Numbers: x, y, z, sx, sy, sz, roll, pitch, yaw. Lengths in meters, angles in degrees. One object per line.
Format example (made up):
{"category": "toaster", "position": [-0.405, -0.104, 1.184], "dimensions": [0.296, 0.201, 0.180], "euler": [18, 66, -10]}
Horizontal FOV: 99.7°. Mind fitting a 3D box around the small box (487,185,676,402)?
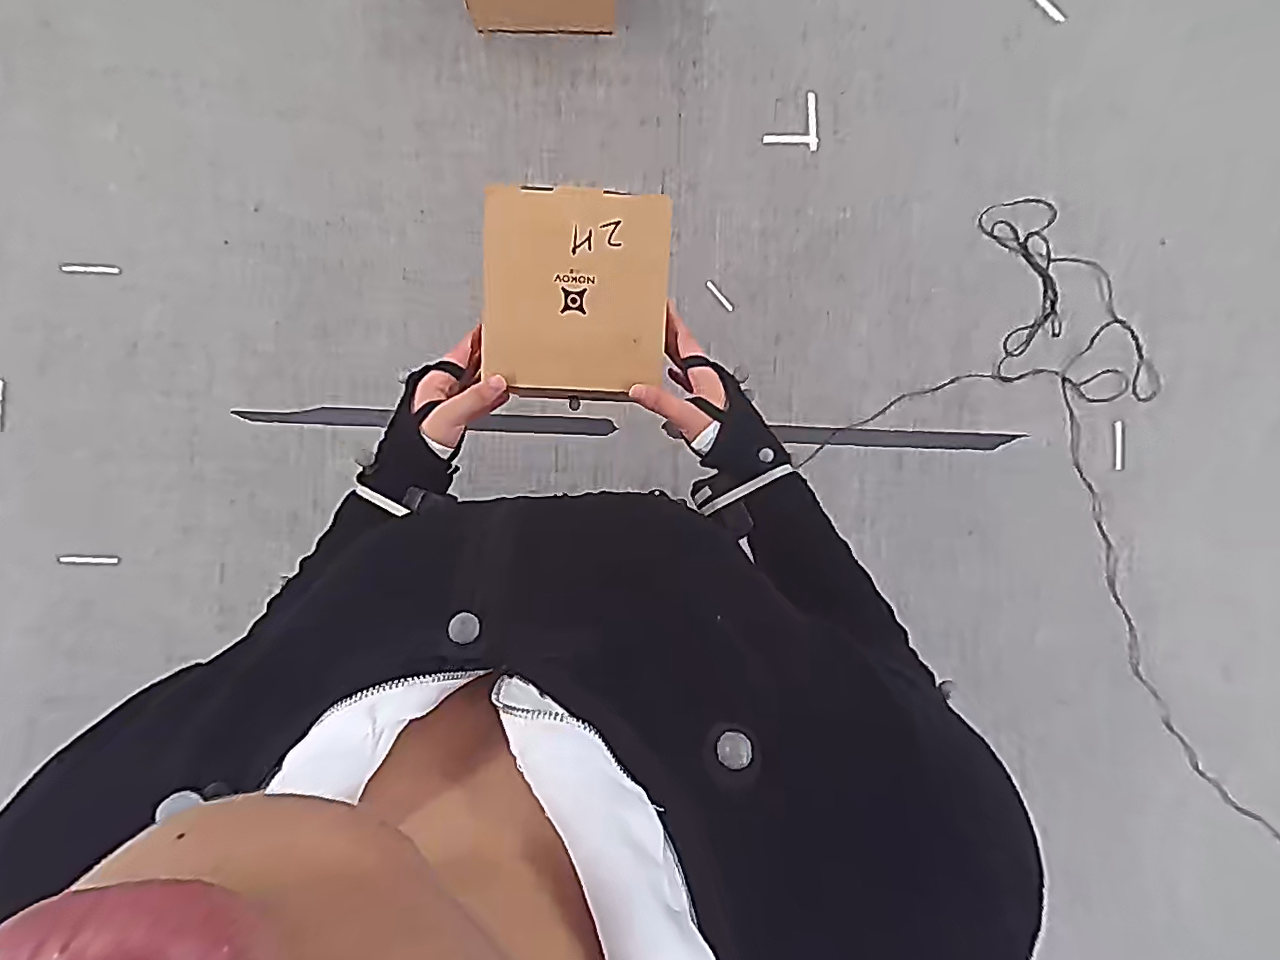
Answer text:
{"category": "small box", "position": [-0.056, -0.177, 0.568], "dimensions": [0.168, 0.176, 0.179], "euler": [3, 94, -3]}
